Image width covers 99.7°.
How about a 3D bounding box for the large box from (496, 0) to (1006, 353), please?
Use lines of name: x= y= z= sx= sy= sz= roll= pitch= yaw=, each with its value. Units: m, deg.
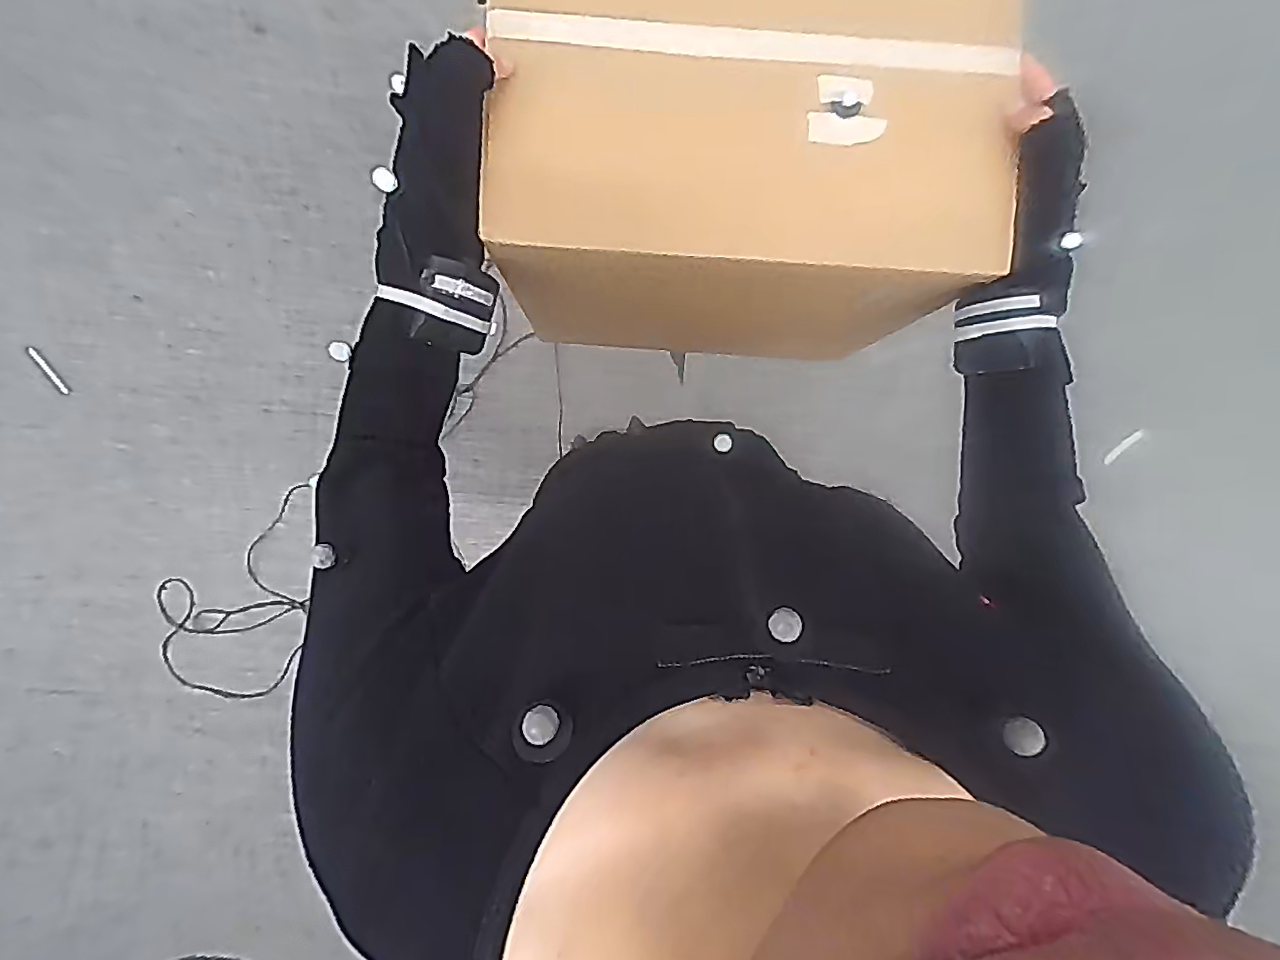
large box: x=0.082 y=-0.328 z=0.573 sx=0.408 sy=0.320 sz=0.320 roll=3 pitch=90 yaw=-3
